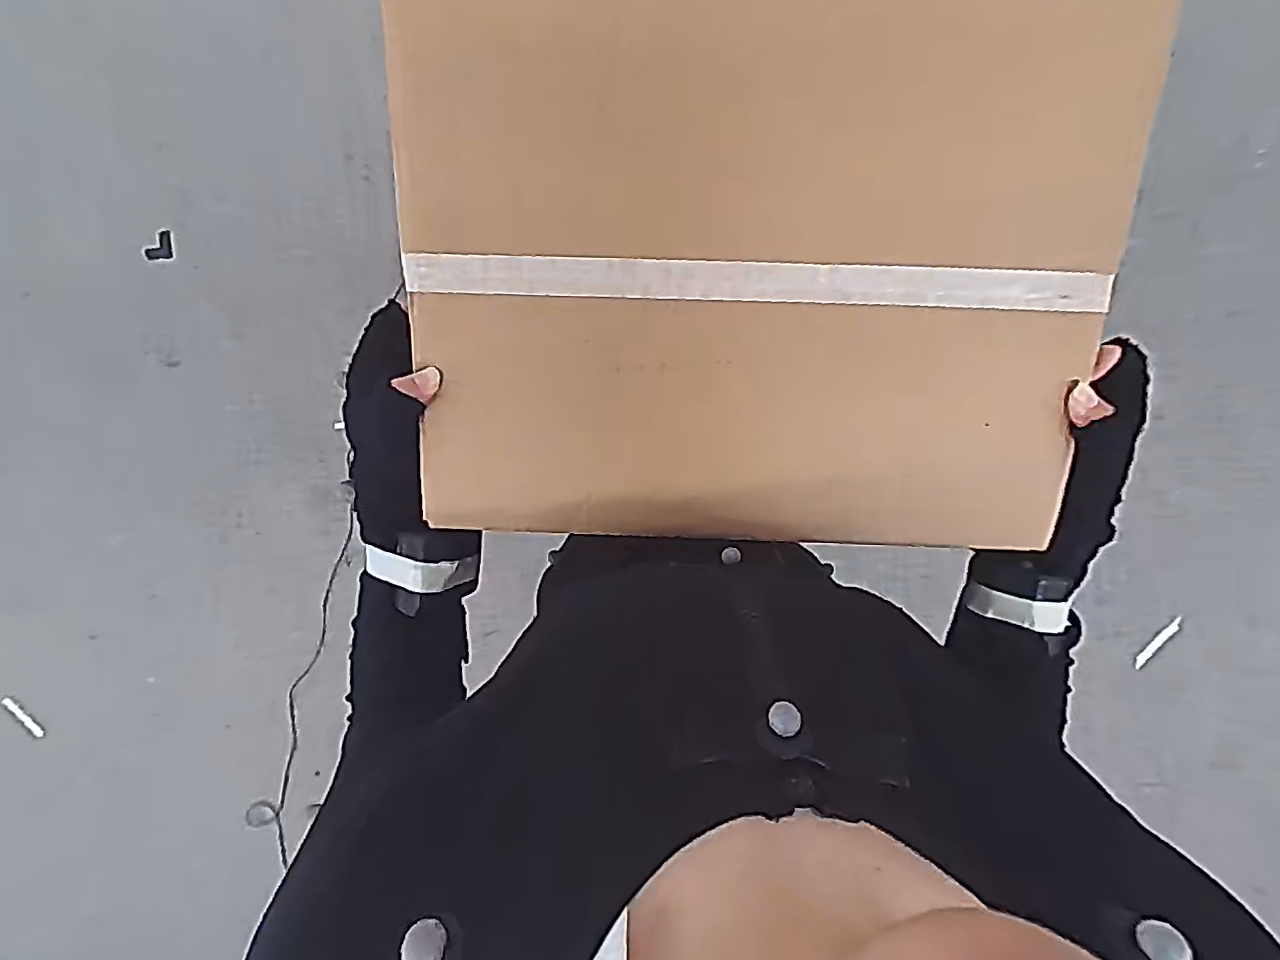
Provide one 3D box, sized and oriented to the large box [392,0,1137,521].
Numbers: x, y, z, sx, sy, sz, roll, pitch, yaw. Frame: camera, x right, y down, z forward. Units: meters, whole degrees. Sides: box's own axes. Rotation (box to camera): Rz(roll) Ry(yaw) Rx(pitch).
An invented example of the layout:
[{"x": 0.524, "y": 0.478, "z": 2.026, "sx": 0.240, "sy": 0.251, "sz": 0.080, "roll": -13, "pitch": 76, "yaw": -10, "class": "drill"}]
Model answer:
[{"x": 0.062, "y": -0.161, "z": 0.466, "sx": 0.408, "sy": 0.320, "sz": 0.320, "roll": 2, "pitch": 106, "yaw": 0, "class": "large box"}]
